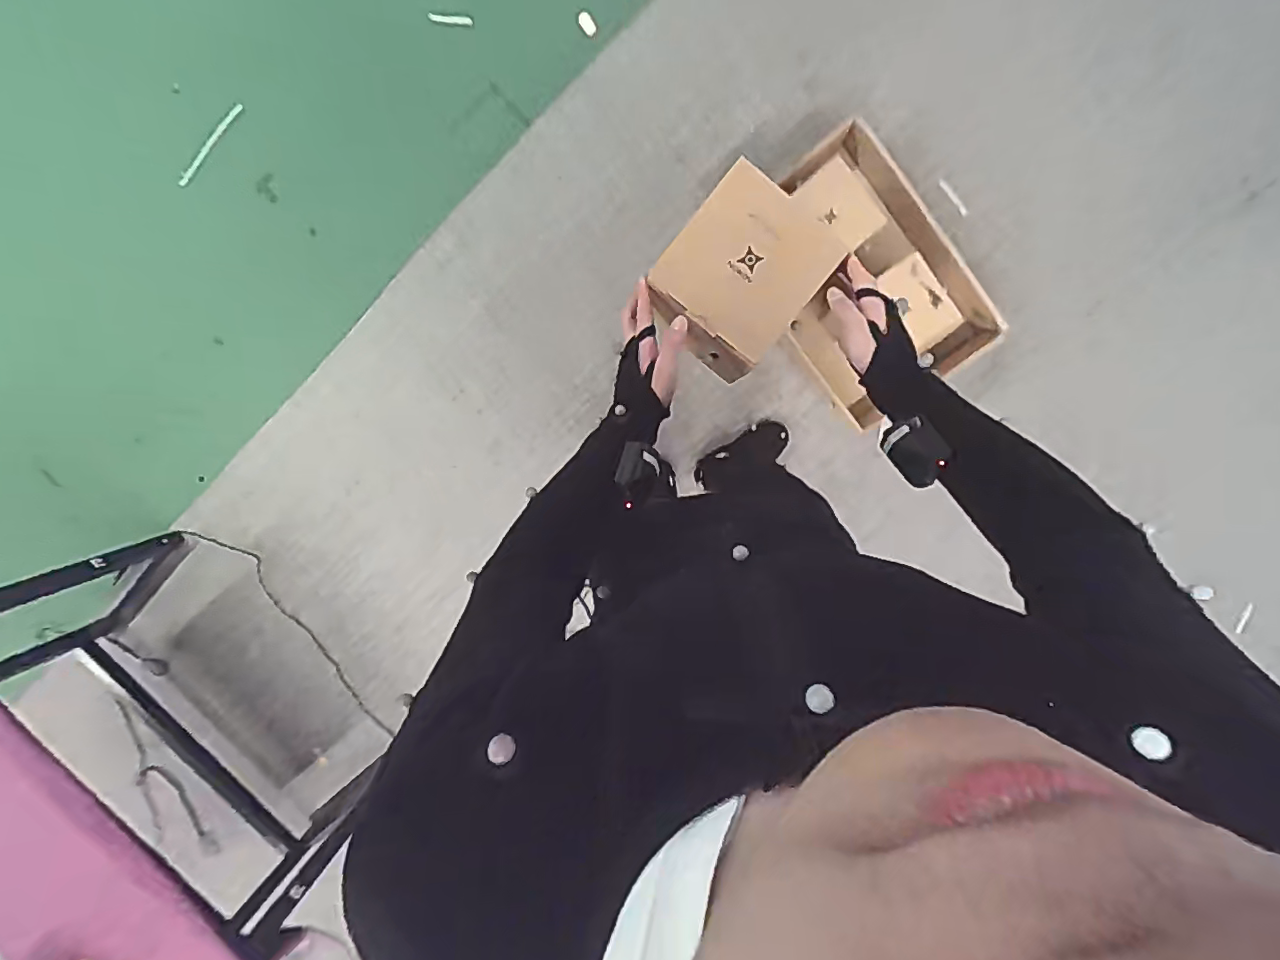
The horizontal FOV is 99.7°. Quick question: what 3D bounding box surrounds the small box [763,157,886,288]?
[{"bbox_3d":[0.382,-0.538,1.158,0.179,0.176,0.168,-37,95,14],"label":"small box"}]
